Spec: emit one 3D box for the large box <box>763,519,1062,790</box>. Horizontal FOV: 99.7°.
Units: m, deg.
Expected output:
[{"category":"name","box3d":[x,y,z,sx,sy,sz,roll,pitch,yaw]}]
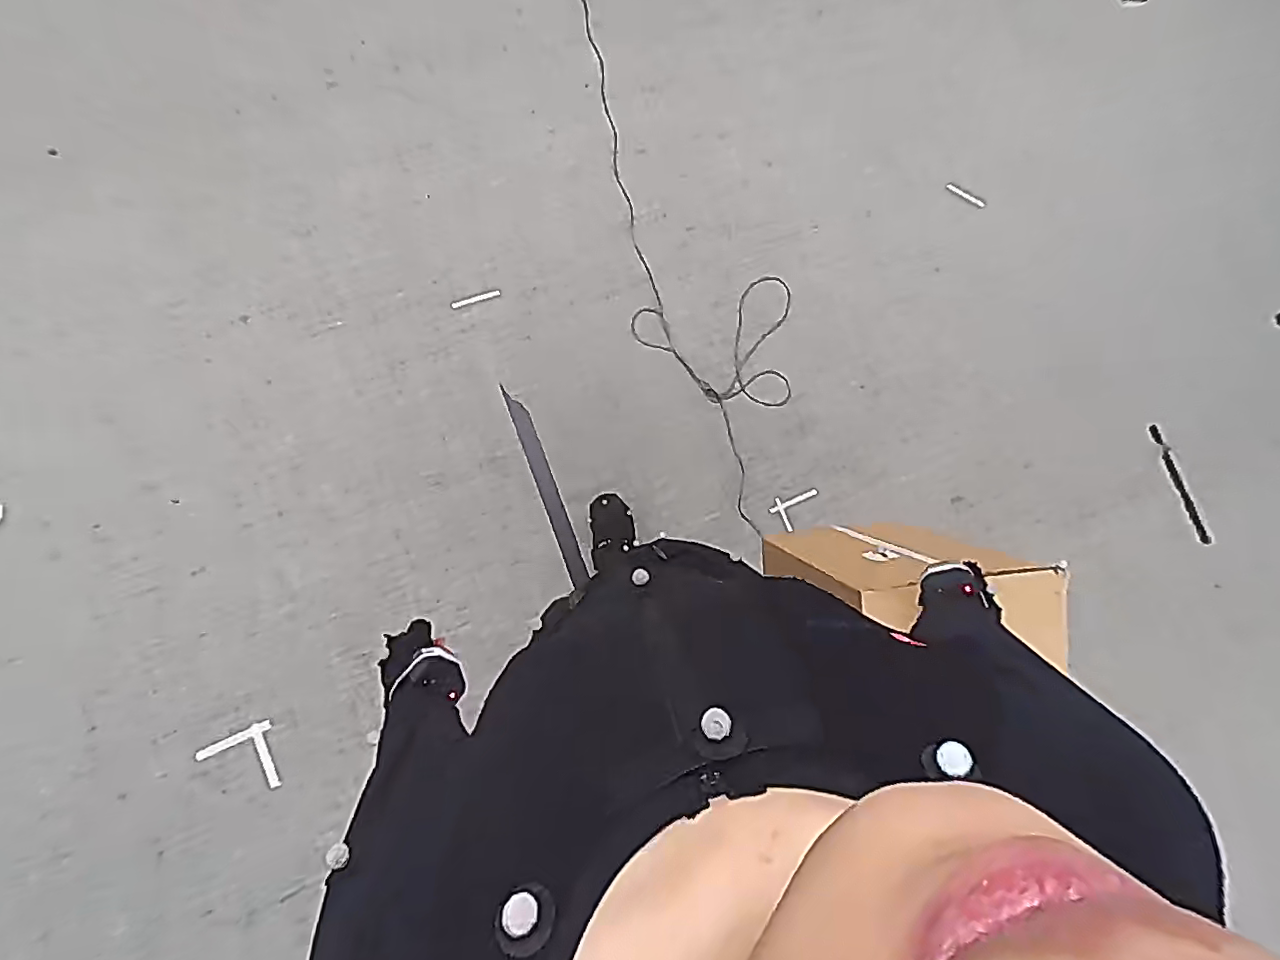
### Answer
[{"category":"large box","box3d":[0.444,0.267,0.973,0.320,0.408,0.320,-6,97,-7]}]
